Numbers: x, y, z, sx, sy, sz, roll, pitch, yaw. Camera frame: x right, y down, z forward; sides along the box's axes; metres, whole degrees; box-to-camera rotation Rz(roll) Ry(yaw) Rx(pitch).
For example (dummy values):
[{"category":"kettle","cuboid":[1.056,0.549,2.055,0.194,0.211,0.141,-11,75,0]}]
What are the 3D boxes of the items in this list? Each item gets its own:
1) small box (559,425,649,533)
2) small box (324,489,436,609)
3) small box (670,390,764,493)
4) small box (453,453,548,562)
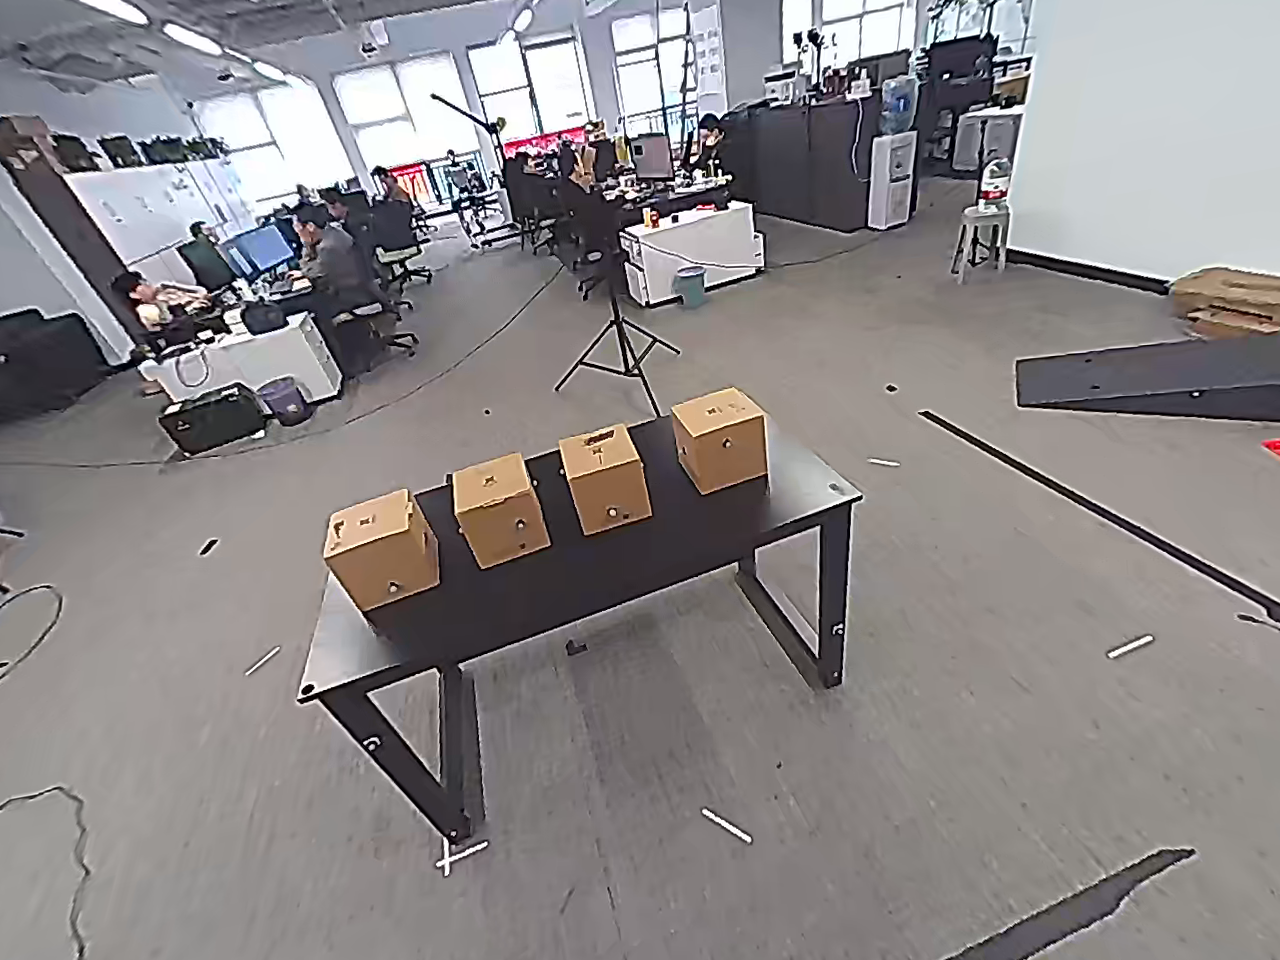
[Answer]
[{"category":"small box","cuboid":[-0.085,-0.003,1.280,0.168,0.176,0.179,-16,36,-6]},{"category":"small box","cuboid":[-0.566,0.153,1.203,0.179,0.176,0.168,-19,35,-11]},{"category":"small box","cuboid":[0.190,-0.092,1.322,0.179,0.176,0.168,-18,36,-7]},{"category":"small box","cuboid":[-0.322,0.069,1.253,0.168,0.176,0.179,-18,35,-10]}]
